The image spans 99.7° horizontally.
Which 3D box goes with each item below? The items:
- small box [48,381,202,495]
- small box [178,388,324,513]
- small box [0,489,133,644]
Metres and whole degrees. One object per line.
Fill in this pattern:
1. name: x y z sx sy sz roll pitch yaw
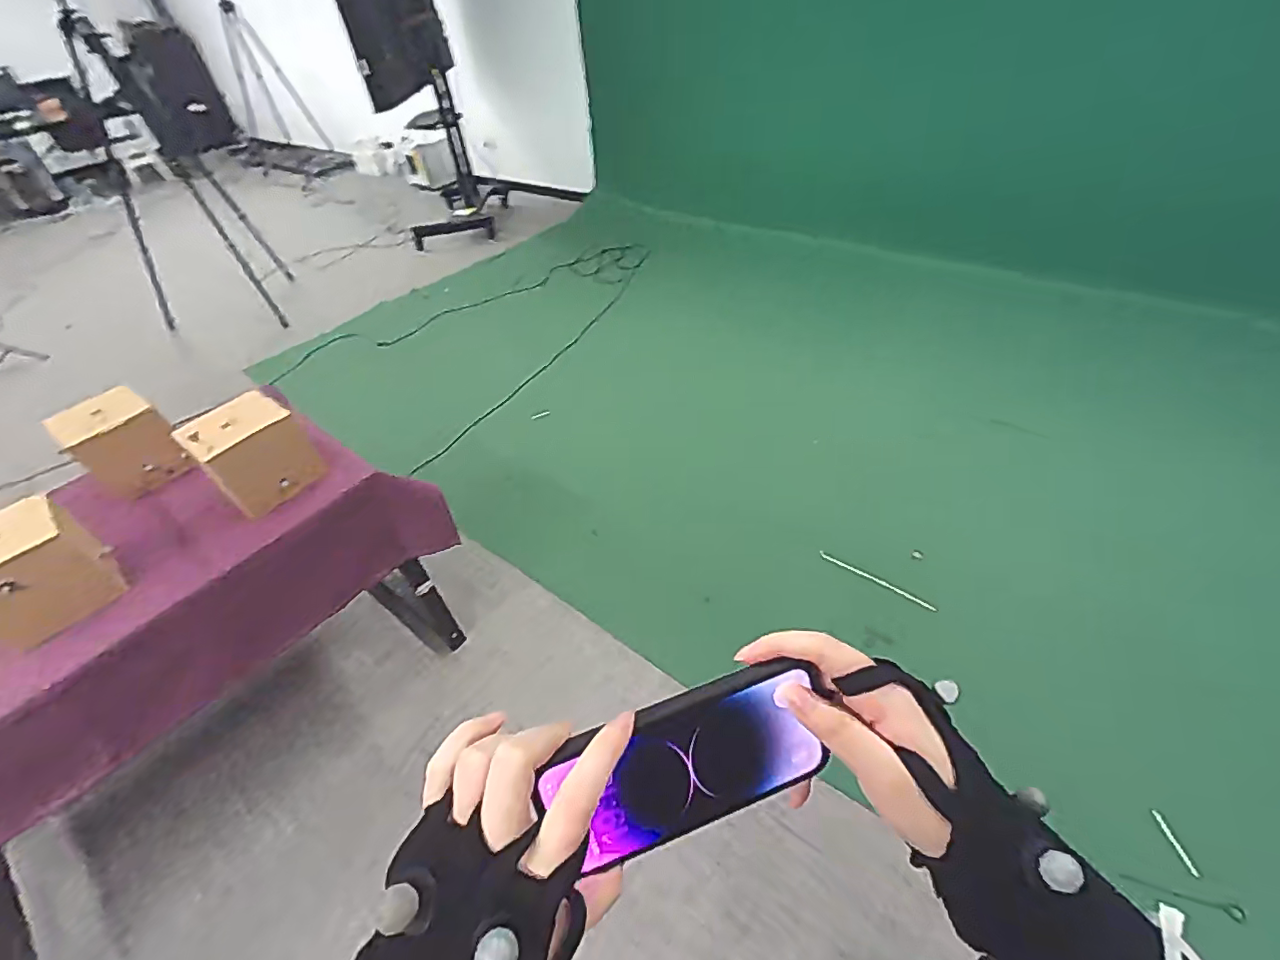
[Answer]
1. small box: -1.149 -0.092 1.217 0.179 0.176 0.168 25 53 27
2. small box: -0.811 -0.064 1.150 0.168 0.176 0.179 26 52 29
3. small box: -1.071 0.154 0.958 0.168 0.176 0.179 30 54 31
